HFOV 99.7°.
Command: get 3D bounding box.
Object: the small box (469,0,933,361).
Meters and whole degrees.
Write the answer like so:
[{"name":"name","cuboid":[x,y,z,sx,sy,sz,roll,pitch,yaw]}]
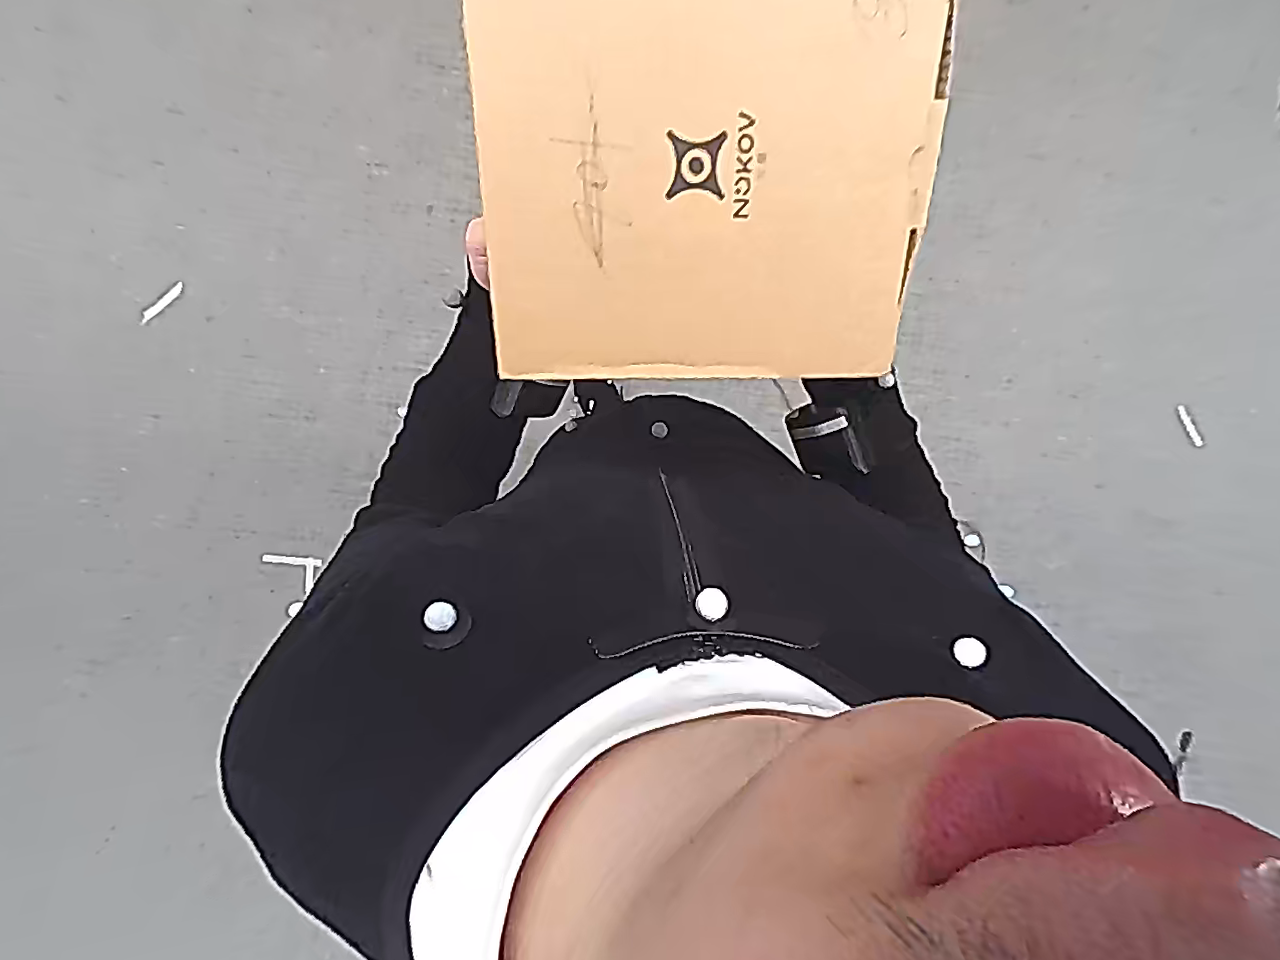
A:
[{"name":"small box","cuboid":[0.020,-0.161,0.293,0.179,0.176,0.168,-1,111,-2]}]
